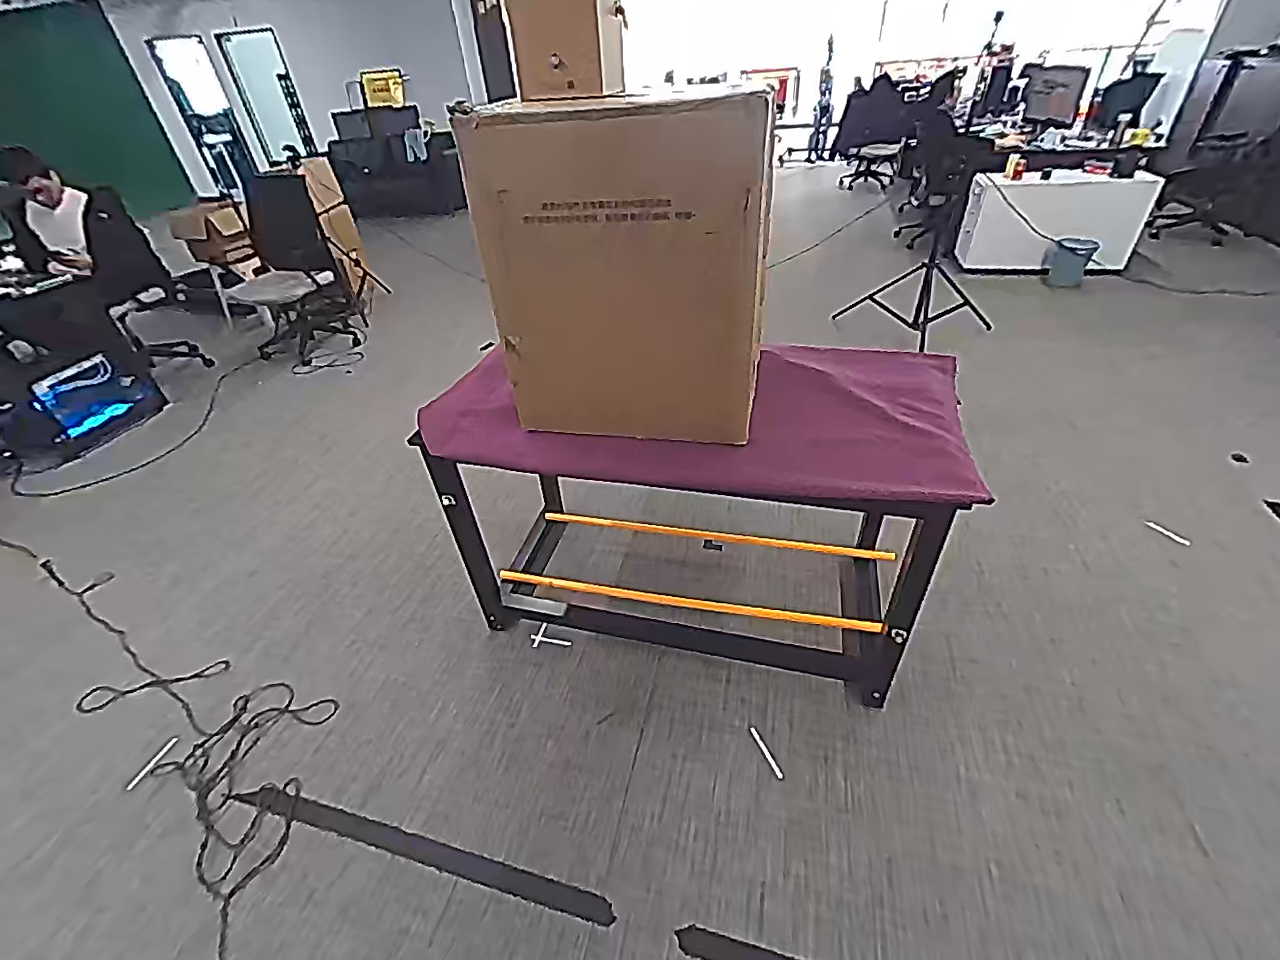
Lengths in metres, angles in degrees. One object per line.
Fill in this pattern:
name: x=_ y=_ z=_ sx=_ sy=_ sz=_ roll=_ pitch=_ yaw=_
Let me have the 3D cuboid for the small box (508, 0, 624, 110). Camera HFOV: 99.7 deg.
small box: x=-0.131 y=-0.817 z=1.035 sx=0.168 sy=0.176 sz=0.179 roll=5 pitch=39 yaw=12
